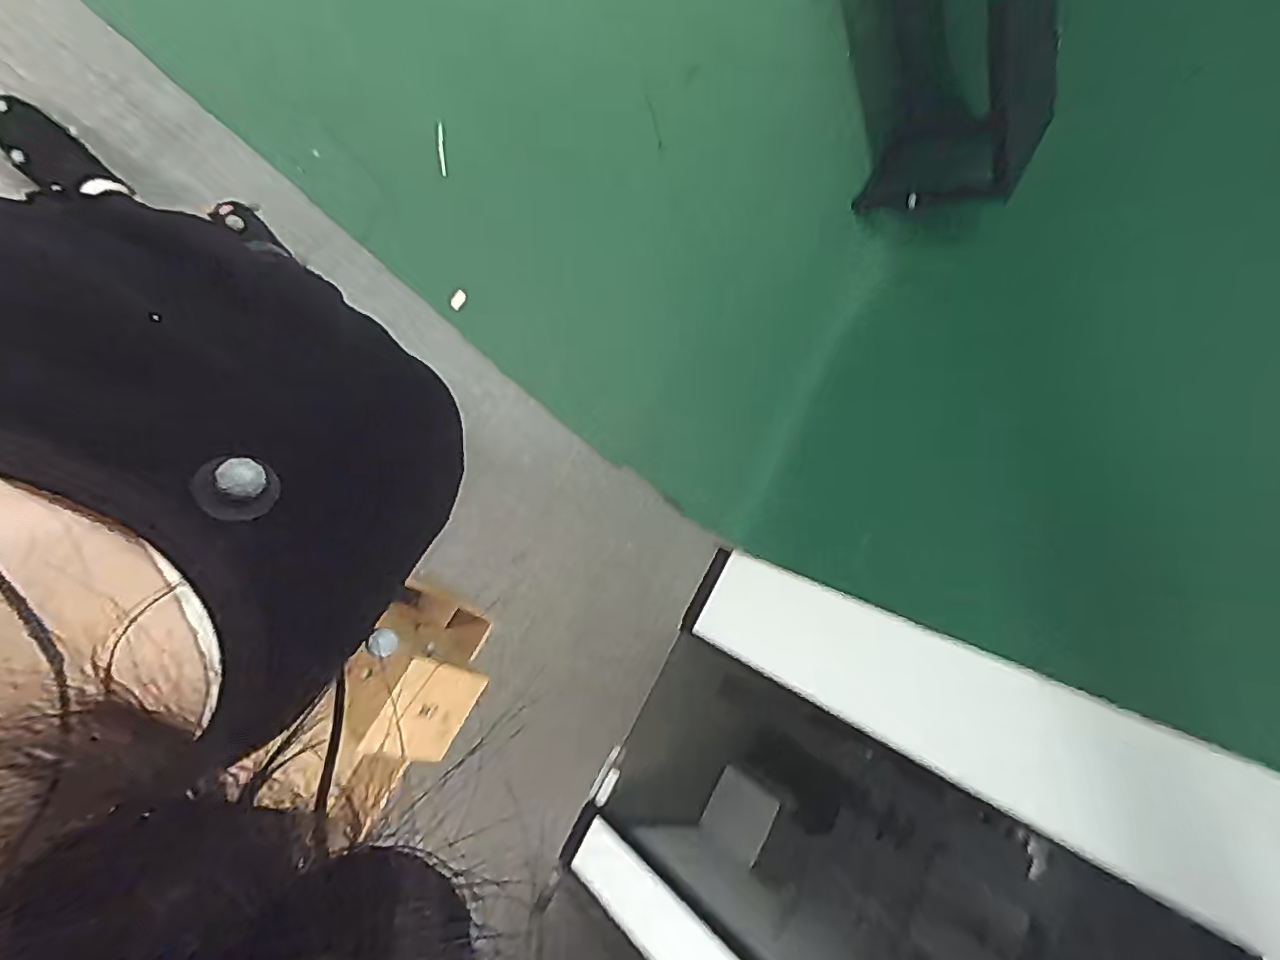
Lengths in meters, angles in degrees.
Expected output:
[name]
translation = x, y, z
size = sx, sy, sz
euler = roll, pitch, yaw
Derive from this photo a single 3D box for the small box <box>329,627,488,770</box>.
[small box]
translation = -0.420, 0.388, 0.976
size = 0.179, 0.176, 0.168
euler = 44, 72, -45
